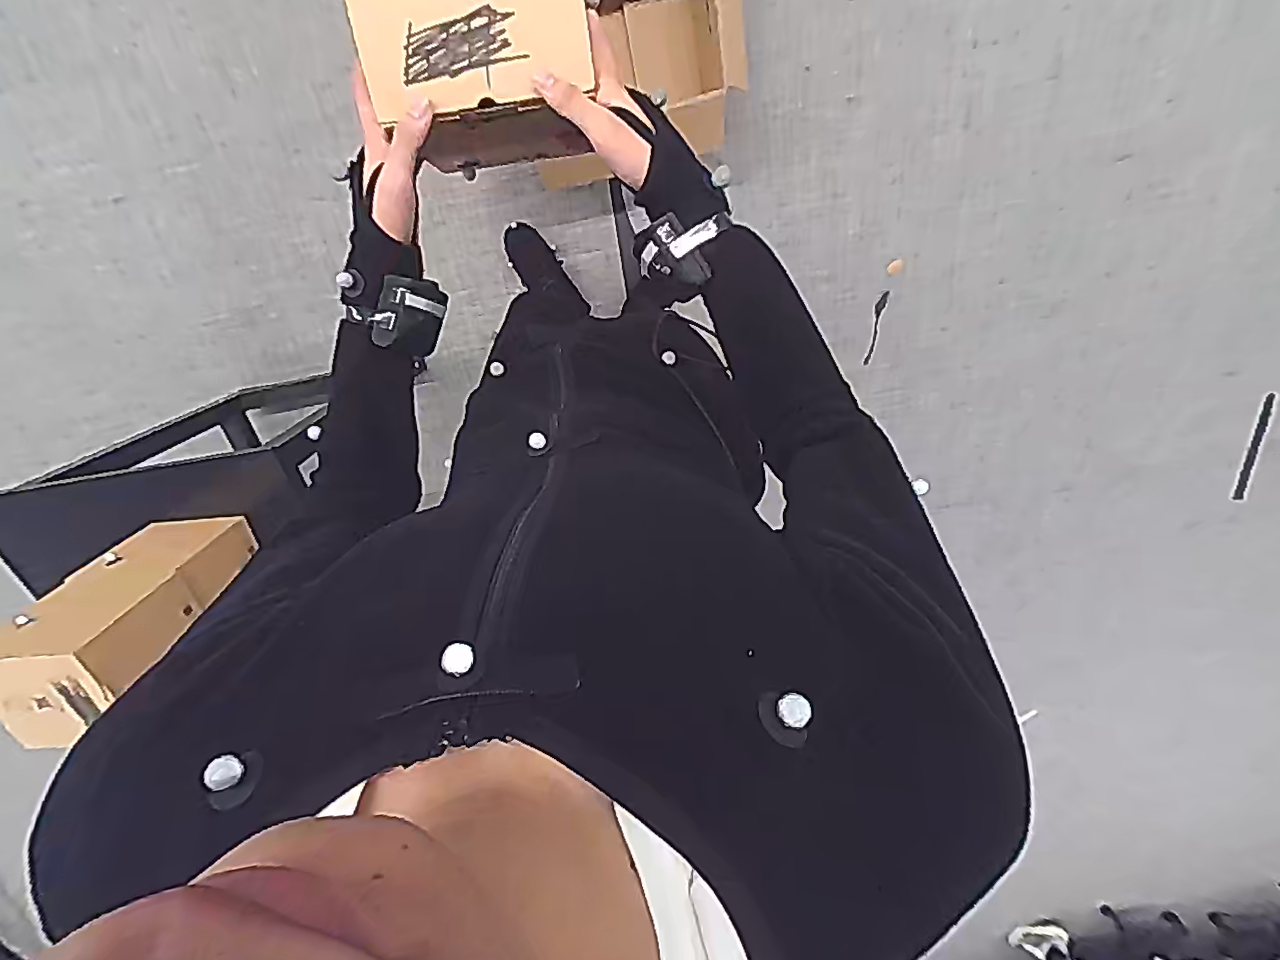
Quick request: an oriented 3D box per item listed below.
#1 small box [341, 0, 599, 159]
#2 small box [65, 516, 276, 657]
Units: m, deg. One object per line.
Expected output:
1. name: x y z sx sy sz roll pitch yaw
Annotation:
1. small box: -0.127 -0.377 0.435 0.168 0.176 0.179 -8 109 0
2. small box: -0.775 0.175 0.916 0.179 0.176 0.168 -4 118 3
